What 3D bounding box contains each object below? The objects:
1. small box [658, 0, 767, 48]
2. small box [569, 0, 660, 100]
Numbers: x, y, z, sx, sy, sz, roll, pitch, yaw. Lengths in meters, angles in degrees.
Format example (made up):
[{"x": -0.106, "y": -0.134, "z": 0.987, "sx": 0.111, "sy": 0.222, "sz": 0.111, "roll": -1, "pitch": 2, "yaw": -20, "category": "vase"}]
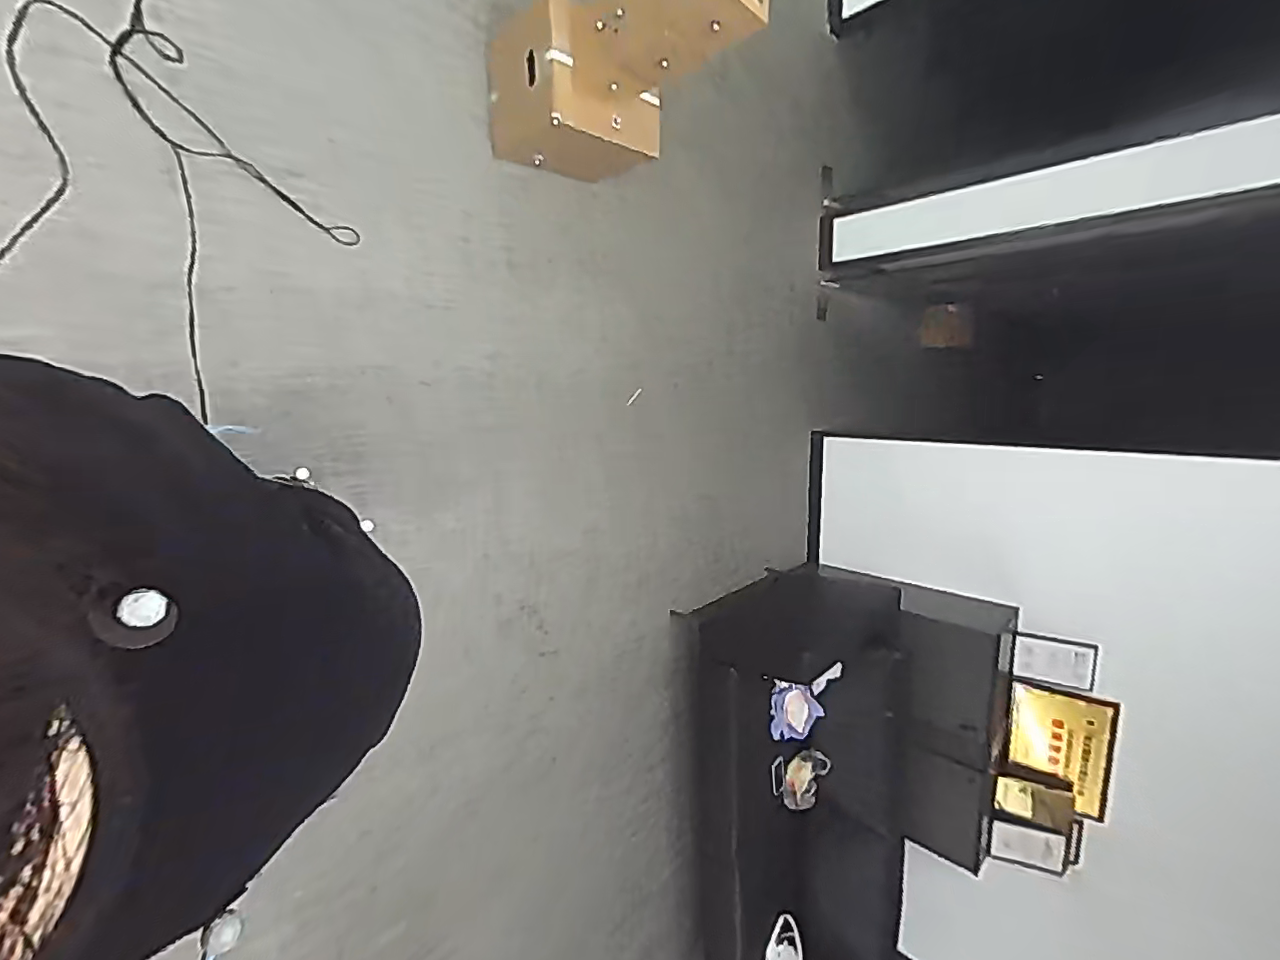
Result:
[{"x": 0.159, "y": -1.085, "z": 1.169, "sx": 0.179, "sy": 0.176, "sz": 0.168, "roll": -10, "pitch": 103, "yaw": -43, "category": "small box"}, {"x": -0.067, "y": -1.130, "z": 1.405, "sx": 0.168, "sy": 0.176, "sz": 0.179, "roll": -15, "pitch": 106, "yaw": -43, "category": "small box"}]
